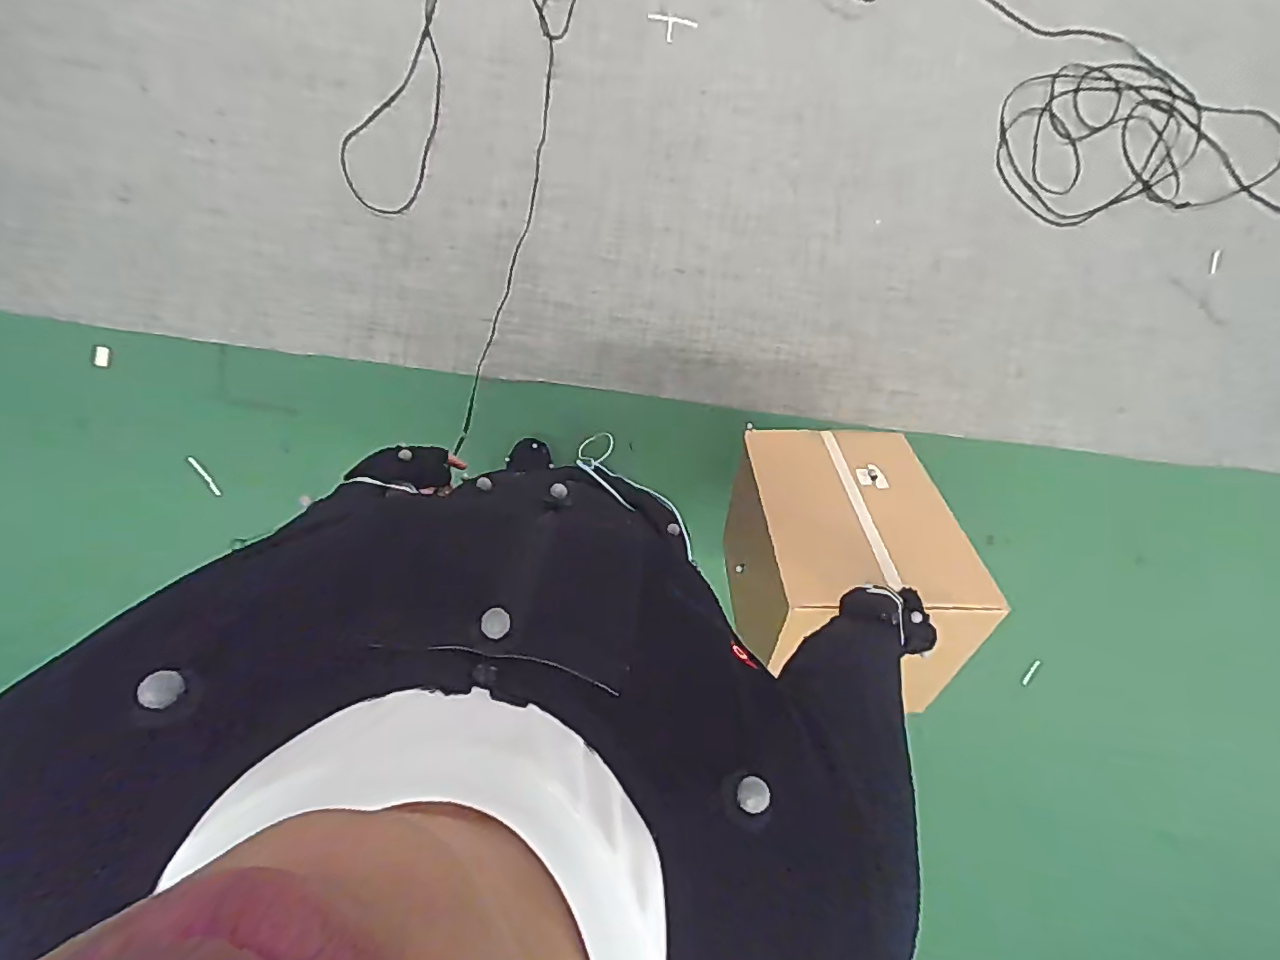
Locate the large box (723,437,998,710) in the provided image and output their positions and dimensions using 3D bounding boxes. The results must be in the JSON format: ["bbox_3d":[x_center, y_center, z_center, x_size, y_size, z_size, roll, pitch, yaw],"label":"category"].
[{"bbox_3d":[0.349,0.165,1.004,0.320,0.408,0.320,2,131,-3],"label":"large box"}]
